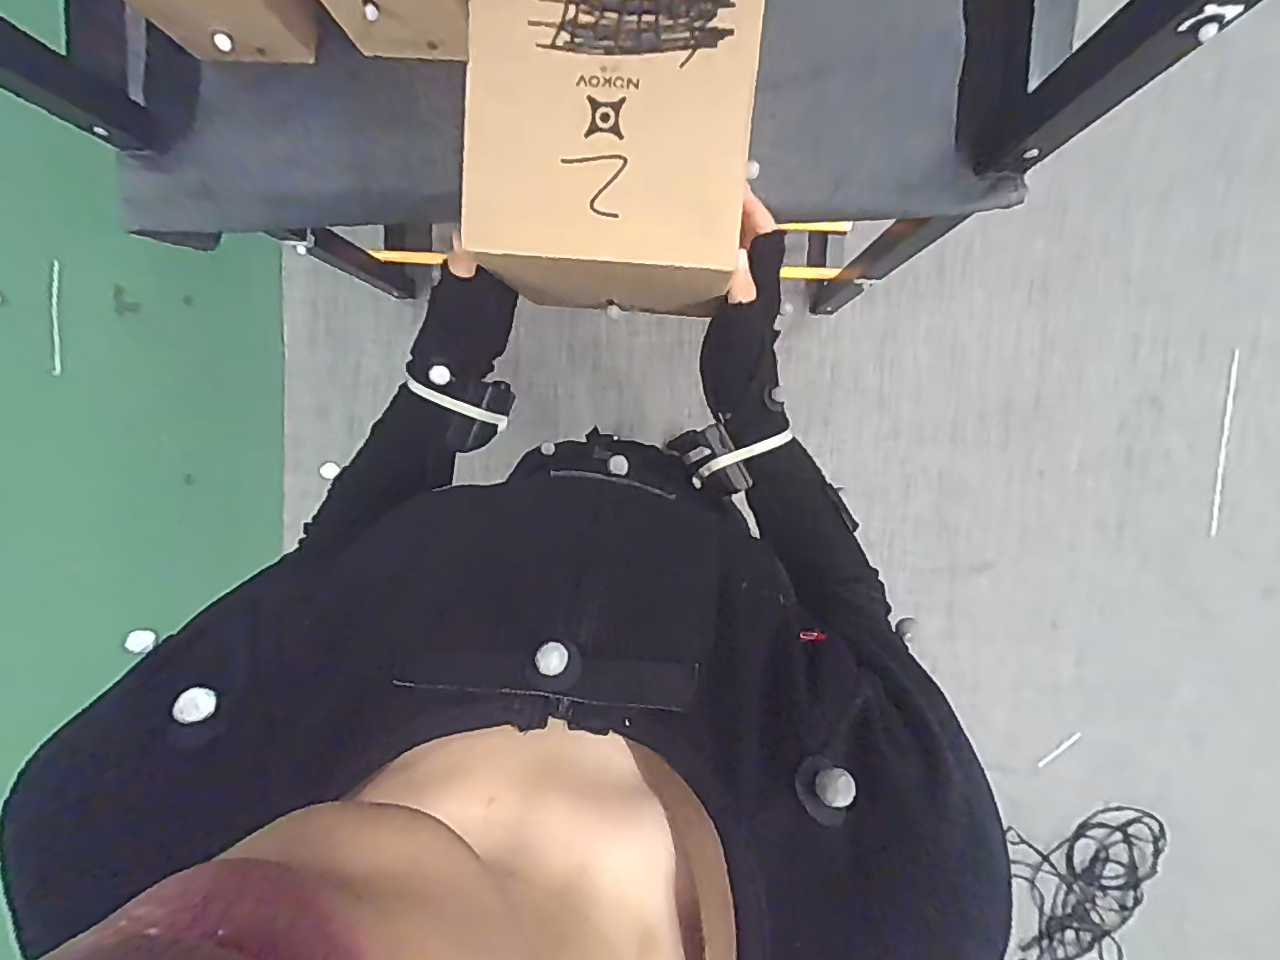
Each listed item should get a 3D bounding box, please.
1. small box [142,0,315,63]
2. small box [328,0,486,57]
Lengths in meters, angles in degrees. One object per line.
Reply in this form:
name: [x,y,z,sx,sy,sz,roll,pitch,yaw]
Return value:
small box: [-0.511,-0.643,0.637,0.168,0.176,0.179,3,95,2]
small box: [-0.283,-0.640,0.632,0.168,0.176,0.179,4,94,2]
